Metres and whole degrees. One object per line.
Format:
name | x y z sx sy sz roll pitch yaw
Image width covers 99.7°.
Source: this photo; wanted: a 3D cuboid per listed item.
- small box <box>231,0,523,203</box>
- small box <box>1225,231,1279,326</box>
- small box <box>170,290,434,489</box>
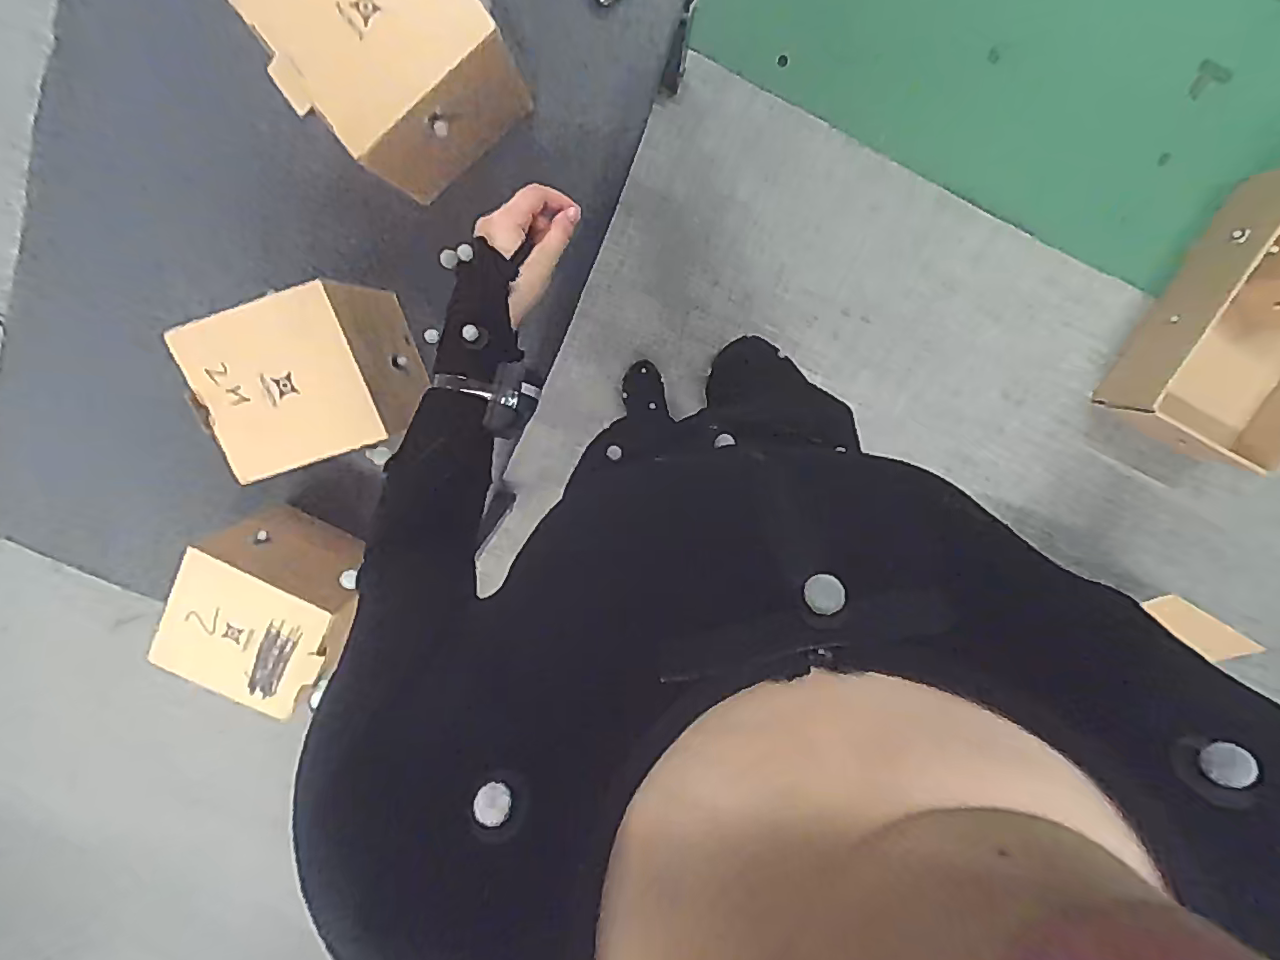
small box | -0.237 -0.419 0.545 0.179 0.176 0.168 -36 102 10
small box | 1.551 -0.472 1.254 0.179 0.176 0.168 39 102 -11
small box | -0.362 -0.109 0.626 0.179 0.176 0.168 -17 103 4
